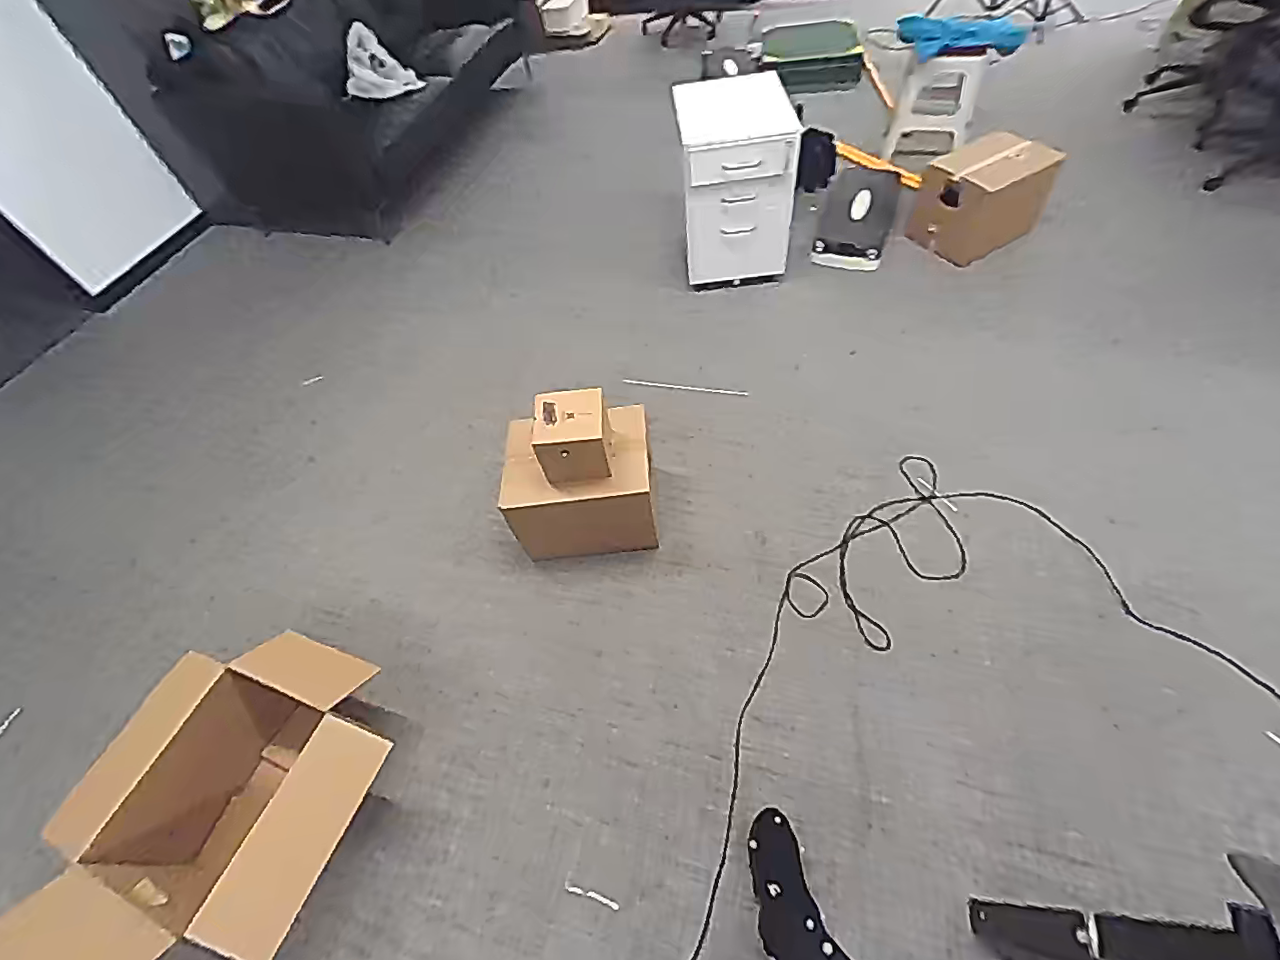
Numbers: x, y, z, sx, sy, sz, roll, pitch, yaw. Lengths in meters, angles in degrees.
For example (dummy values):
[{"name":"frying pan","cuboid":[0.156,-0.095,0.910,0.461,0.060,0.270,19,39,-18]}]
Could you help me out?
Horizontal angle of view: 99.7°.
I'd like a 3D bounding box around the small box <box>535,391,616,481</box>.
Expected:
[{"name":"small box","cuboid":[-0.163,-0.111,1.424,0.179,0.176,0.168,-6,56,4]}]
